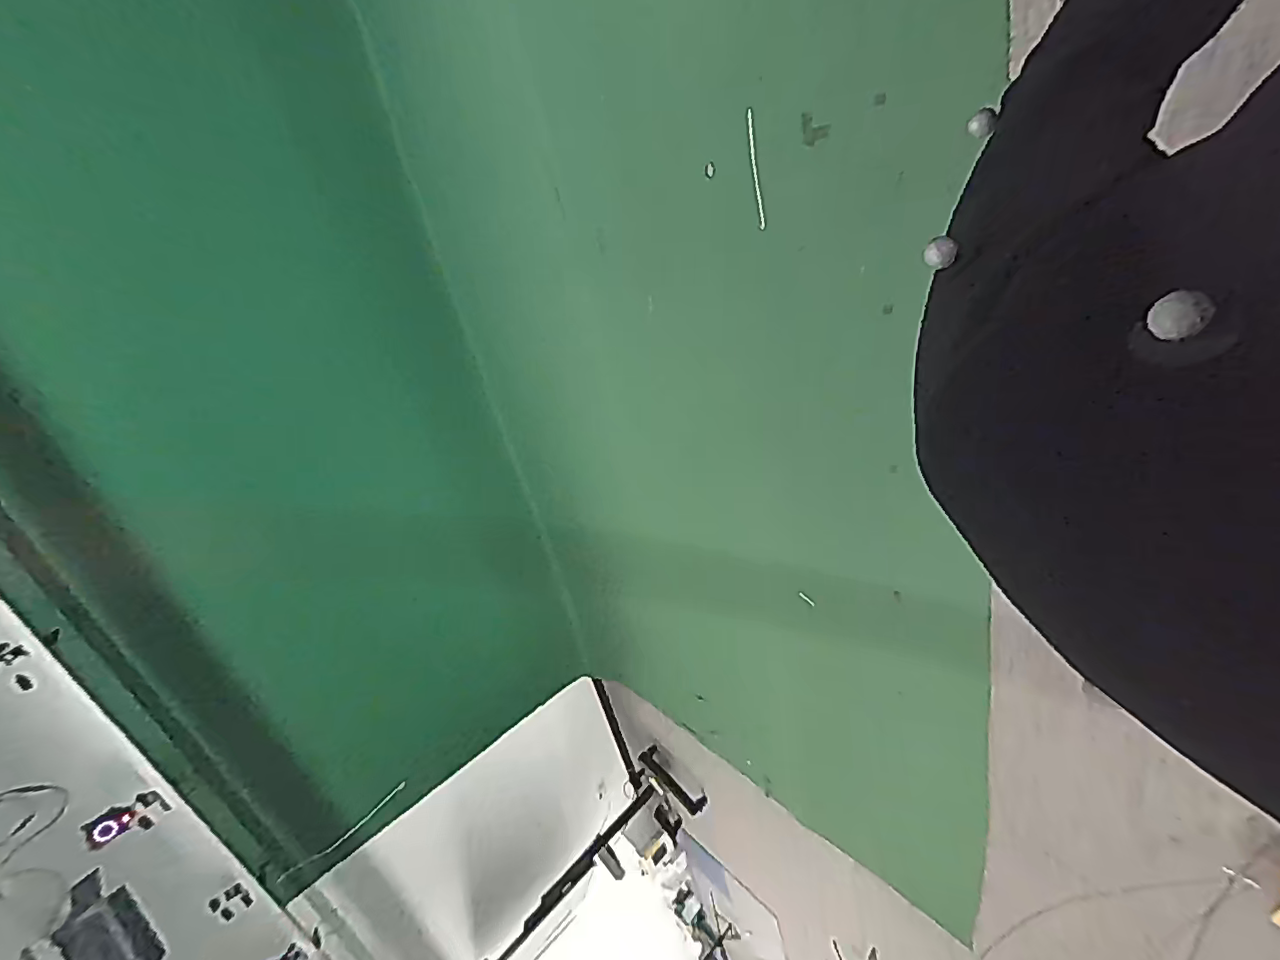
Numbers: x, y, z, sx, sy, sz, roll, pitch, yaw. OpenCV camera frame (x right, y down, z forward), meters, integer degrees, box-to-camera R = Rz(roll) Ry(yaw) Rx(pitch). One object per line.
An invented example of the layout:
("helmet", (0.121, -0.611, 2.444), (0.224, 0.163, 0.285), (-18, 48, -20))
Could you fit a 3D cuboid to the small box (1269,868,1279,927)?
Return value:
("small box", (1.612, 0.982, 1.229), (0.179, 0.176, 0.168), (31, 138, 40))
